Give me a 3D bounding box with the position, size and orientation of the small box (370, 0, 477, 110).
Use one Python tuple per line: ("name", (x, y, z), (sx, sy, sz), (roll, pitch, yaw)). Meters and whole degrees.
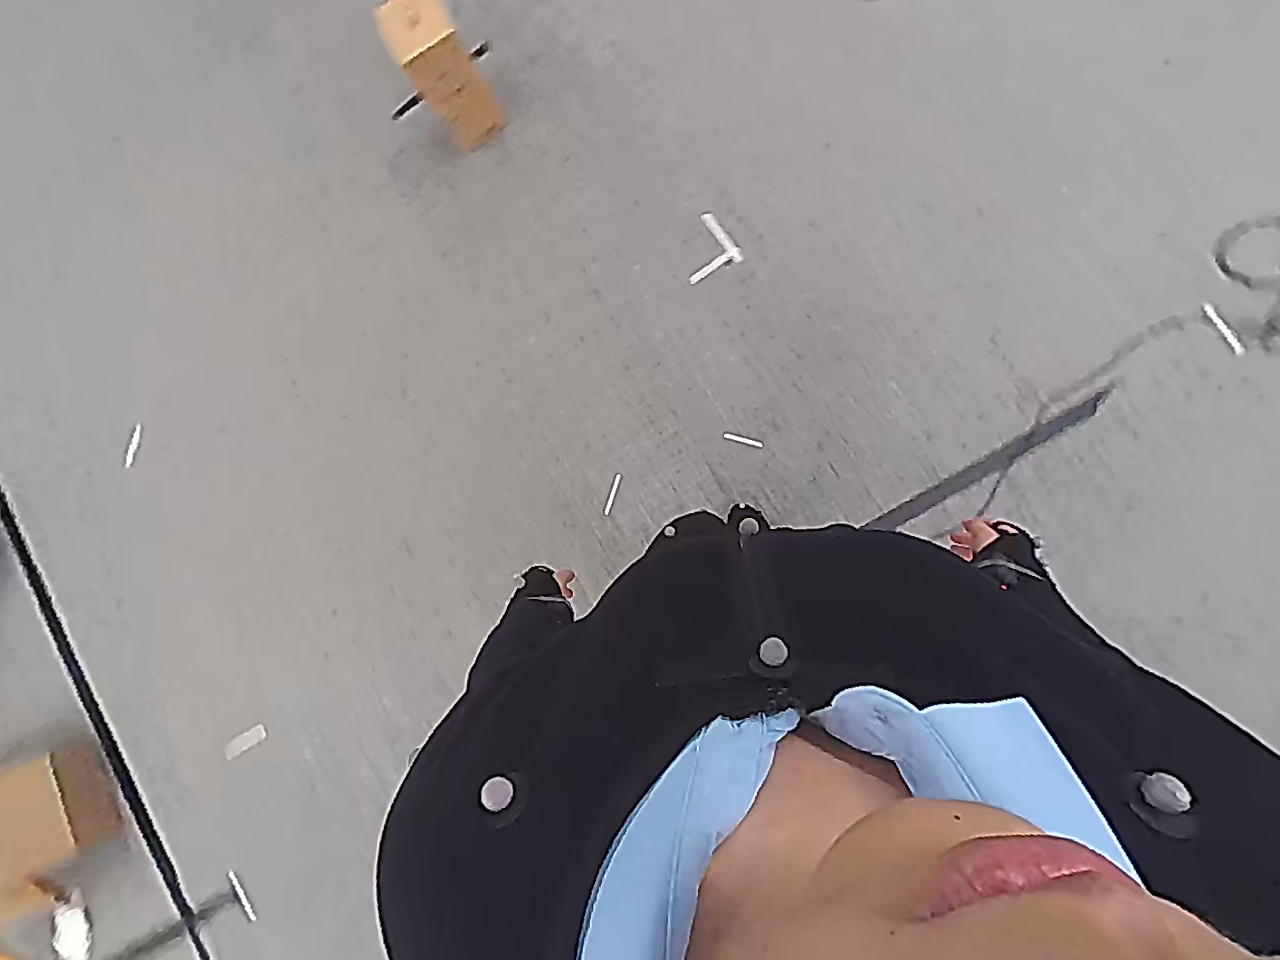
("small box", (-0.561, -1.122, 1.422), (0.168, 0.176, 0.179), (-28, 83, 5))
